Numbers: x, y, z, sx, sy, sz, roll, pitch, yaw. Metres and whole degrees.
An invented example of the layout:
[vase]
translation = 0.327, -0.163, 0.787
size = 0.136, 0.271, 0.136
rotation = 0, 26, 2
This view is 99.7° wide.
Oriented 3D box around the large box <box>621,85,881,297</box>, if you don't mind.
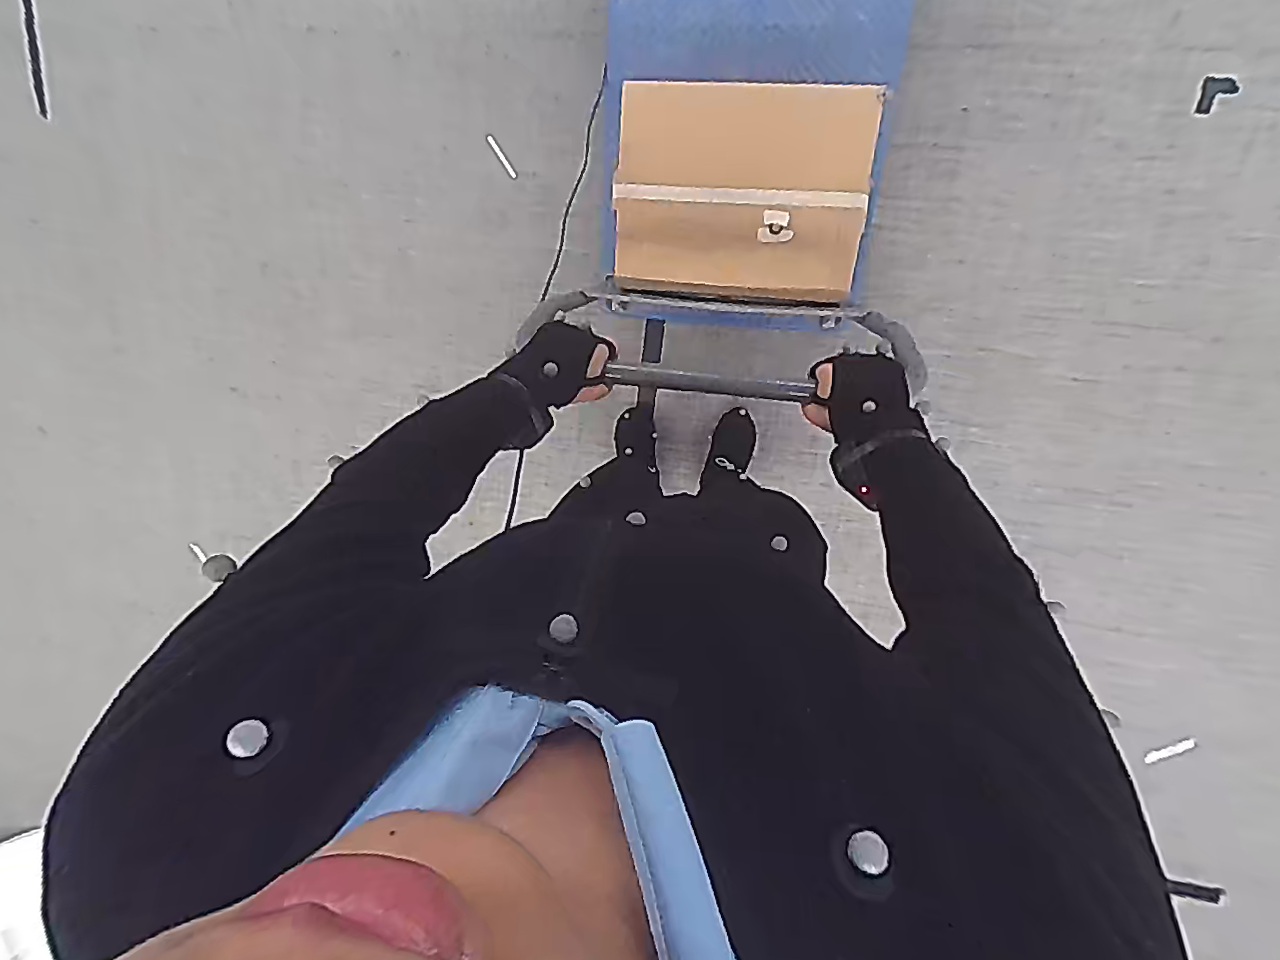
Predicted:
[large box]
translation = 0.186, -0.522, 1.039
size = 0.408, 0.320, 0.320
rotation = 6, 110, 7
